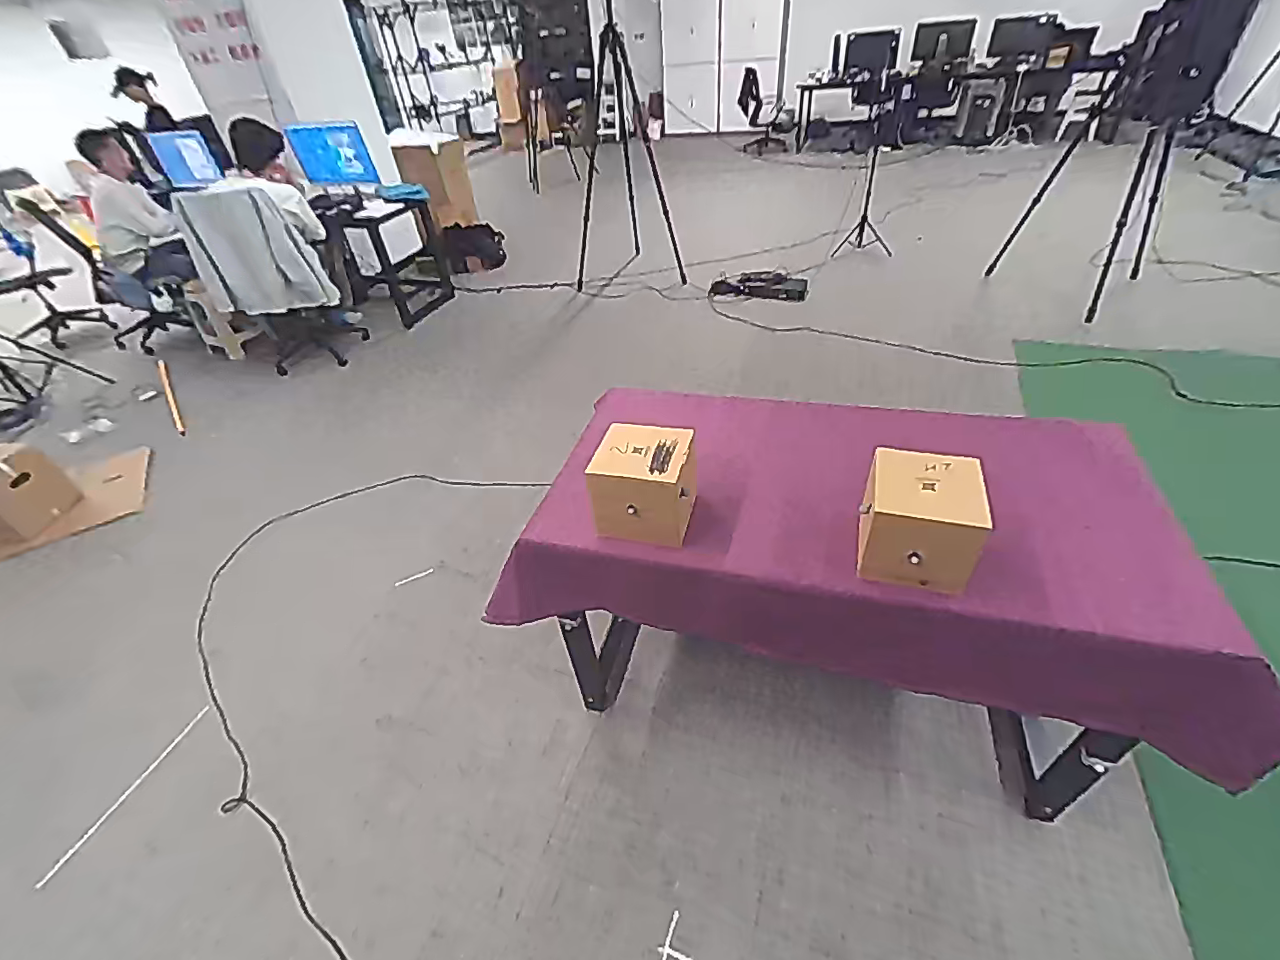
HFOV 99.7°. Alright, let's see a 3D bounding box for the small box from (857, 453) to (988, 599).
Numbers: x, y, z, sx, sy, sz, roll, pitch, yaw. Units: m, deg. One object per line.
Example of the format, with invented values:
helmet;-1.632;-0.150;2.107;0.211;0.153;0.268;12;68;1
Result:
small box;0.480;0.080;0.940;0.168;0.176;0.179;10;42;17
